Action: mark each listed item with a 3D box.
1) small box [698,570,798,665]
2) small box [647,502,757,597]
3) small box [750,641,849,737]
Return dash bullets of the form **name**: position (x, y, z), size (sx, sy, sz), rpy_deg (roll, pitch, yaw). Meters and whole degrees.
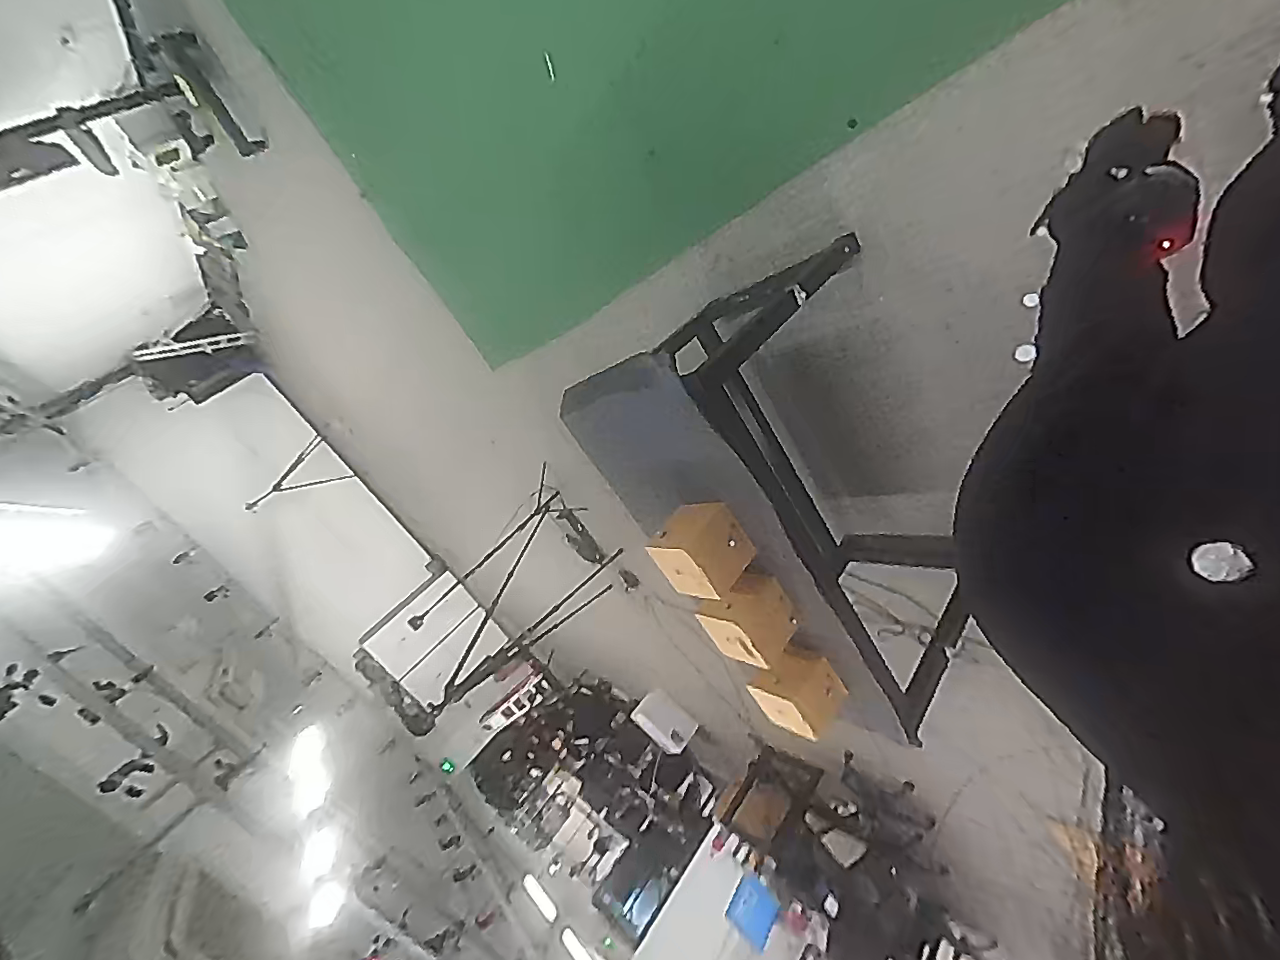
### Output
- **small box**: position (0.294, 0.355, 1.430), size (0.179, 0.176, 0.168), rpy_deg (-4, 125, 56)
- **small box**: position (0.158, 0.168, 1.356), size (0.168, 0.176, 0.179), rpy_deg (54, 151, -18)
- **small box**: position (0.451, 0.578, 1.524), size (0.168, 0.176, 0.179), rpy_deg (55, 152, -17)
